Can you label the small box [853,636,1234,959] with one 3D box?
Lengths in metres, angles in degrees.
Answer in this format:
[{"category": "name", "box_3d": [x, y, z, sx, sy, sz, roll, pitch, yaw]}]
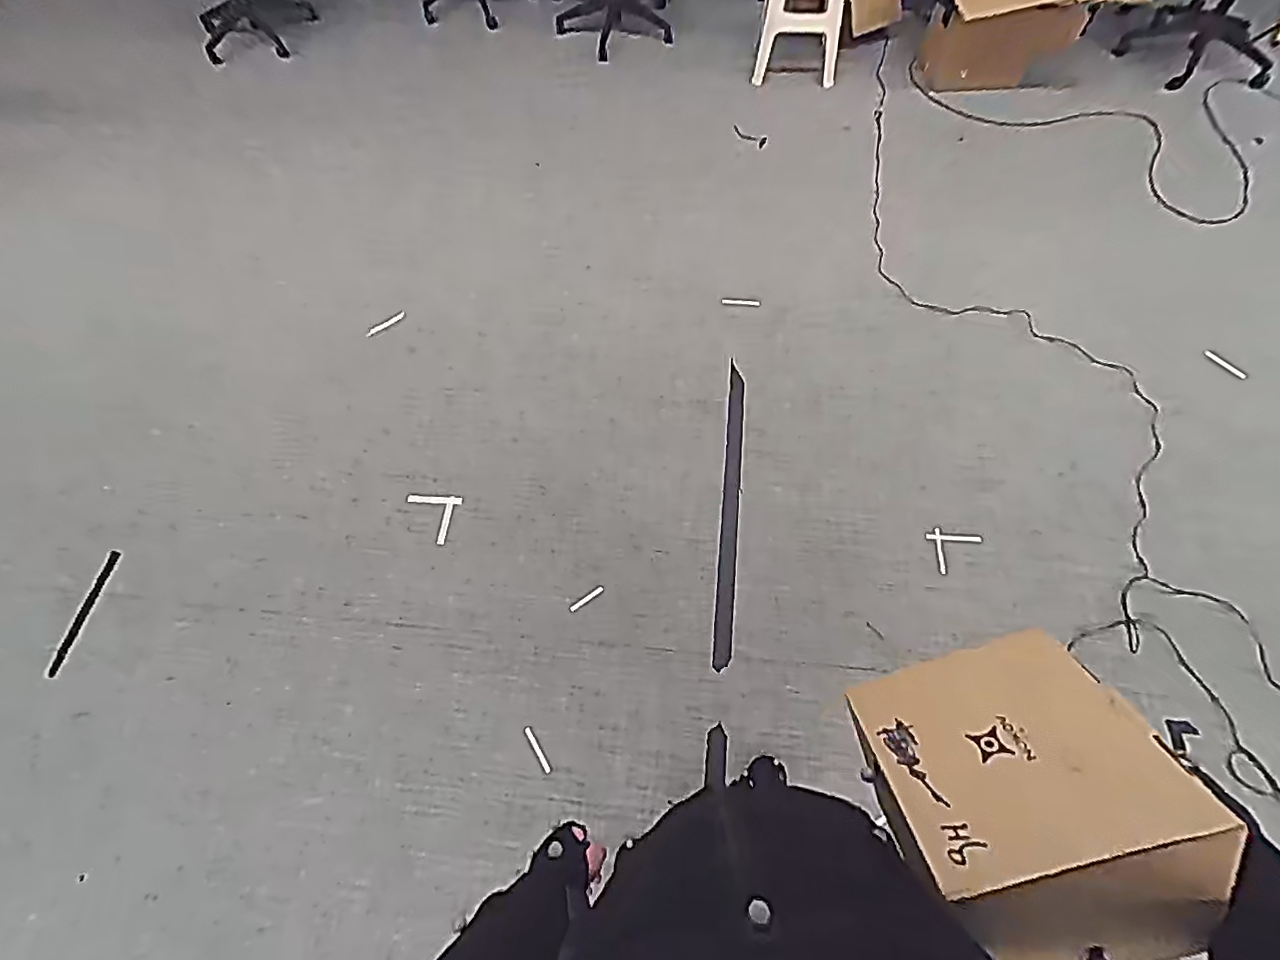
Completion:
[{"category": "small box", "box_3d": [0.300, 0.264, 0.440, 0.179, 0.176, 0.168, -20, 26, 7]}]
